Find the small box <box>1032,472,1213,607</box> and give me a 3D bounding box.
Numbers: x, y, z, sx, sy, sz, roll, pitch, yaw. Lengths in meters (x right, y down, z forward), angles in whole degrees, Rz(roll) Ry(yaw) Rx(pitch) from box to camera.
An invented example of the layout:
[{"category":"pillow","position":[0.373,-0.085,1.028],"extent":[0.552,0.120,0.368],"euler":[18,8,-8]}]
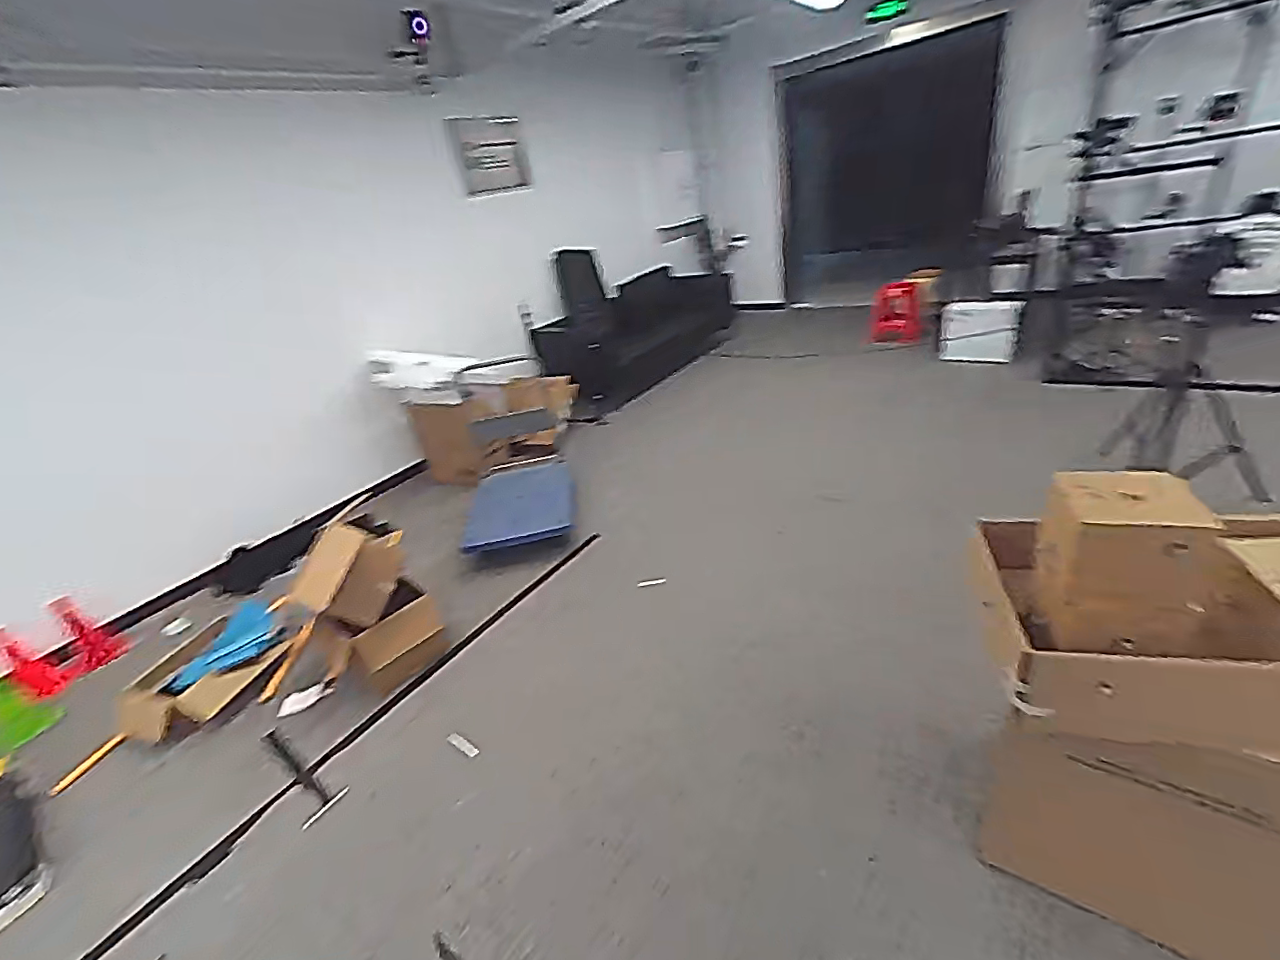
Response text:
[{"category":"small box","position":[0.812,0.100,0.934],"extent":[0.179,0.176,0.168],"euler":[0,30,22]}]
